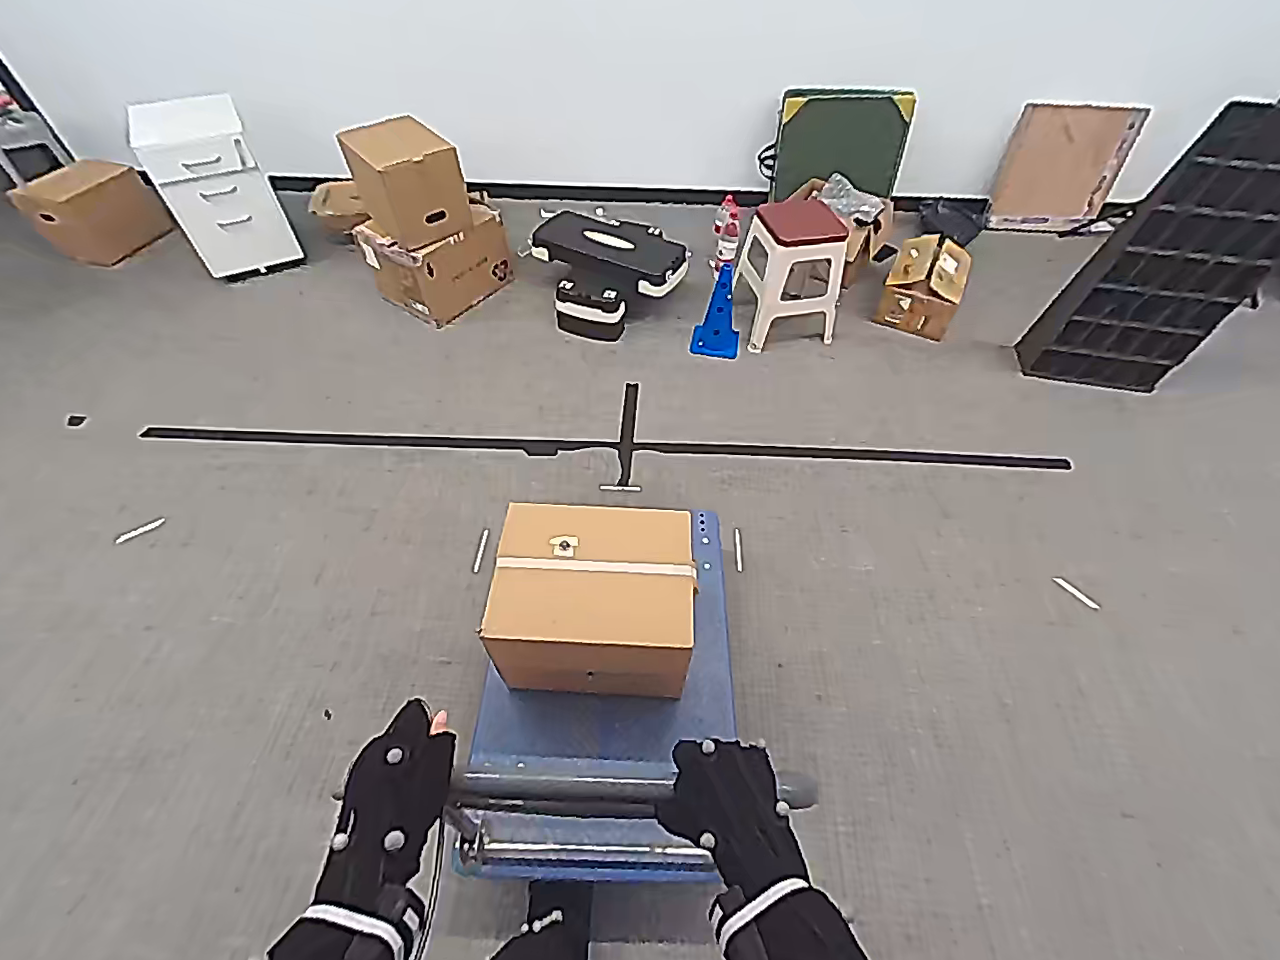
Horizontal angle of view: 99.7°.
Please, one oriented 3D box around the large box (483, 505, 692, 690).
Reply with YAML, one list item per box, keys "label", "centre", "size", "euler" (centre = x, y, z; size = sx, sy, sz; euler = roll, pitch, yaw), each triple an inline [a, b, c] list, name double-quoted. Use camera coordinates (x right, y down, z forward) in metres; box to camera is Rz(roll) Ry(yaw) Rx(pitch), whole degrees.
- label: "large box"
  centre: [-0.095, 0.273, 1.228]
  size: [0.408, 0.320, 0.320]
  euler: [3, 52, 1]
